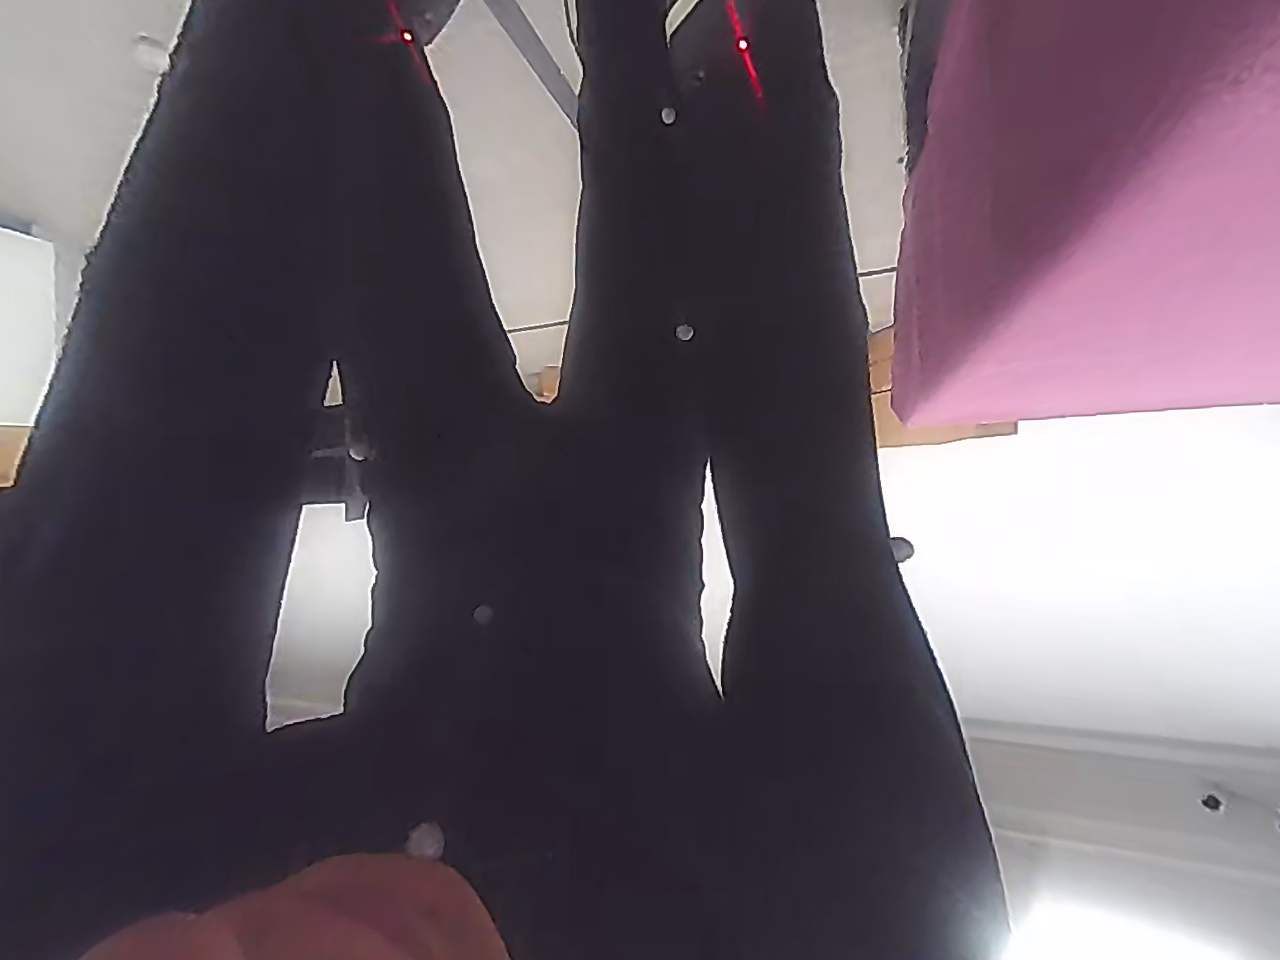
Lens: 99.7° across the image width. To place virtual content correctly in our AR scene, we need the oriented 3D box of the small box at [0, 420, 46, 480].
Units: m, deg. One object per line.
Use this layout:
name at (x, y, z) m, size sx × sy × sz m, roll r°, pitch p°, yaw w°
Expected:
small box at (-1.891, -0.087, 1.581) m, size 0.179 × 0.176 × 0.168 m, roll -1°, pitch 180°, yaw 21°
